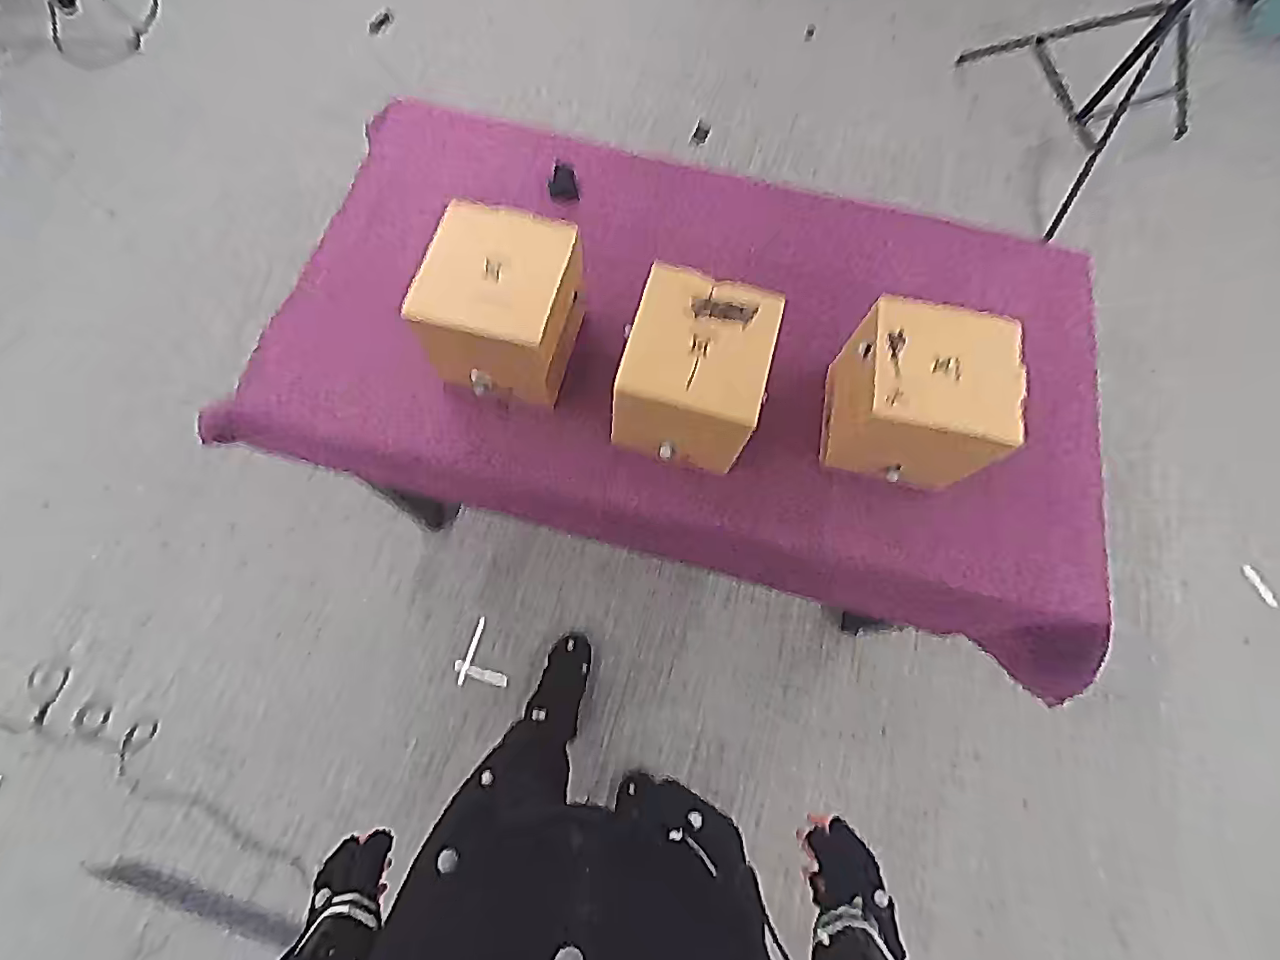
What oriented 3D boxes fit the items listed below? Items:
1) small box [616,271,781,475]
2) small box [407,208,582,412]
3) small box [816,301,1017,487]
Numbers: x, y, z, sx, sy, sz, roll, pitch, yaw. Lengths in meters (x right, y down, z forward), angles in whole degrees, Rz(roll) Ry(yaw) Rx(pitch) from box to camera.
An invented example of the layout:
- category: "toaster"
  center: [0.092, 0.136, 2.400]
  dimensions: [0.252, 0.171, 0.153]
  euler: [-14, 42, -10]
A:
- category: "small box"
  center: [0.067, -0.130, 0.704]
  dimensions: [0.168, 0.176, 0.179]
  euler: [15, 70, 2]
- category: "small box"
  center: [-0.176, -0.217, 0.722]
  dimensions: [0.168, 0.176, 0.179]
  euler: [13, 71, 2]
- category: "small box"
  center: [0.354, -0.102, 0.714]
  dimensions: [0.179, 0.176, 0.168]
  euler: [12, 70, 0]
